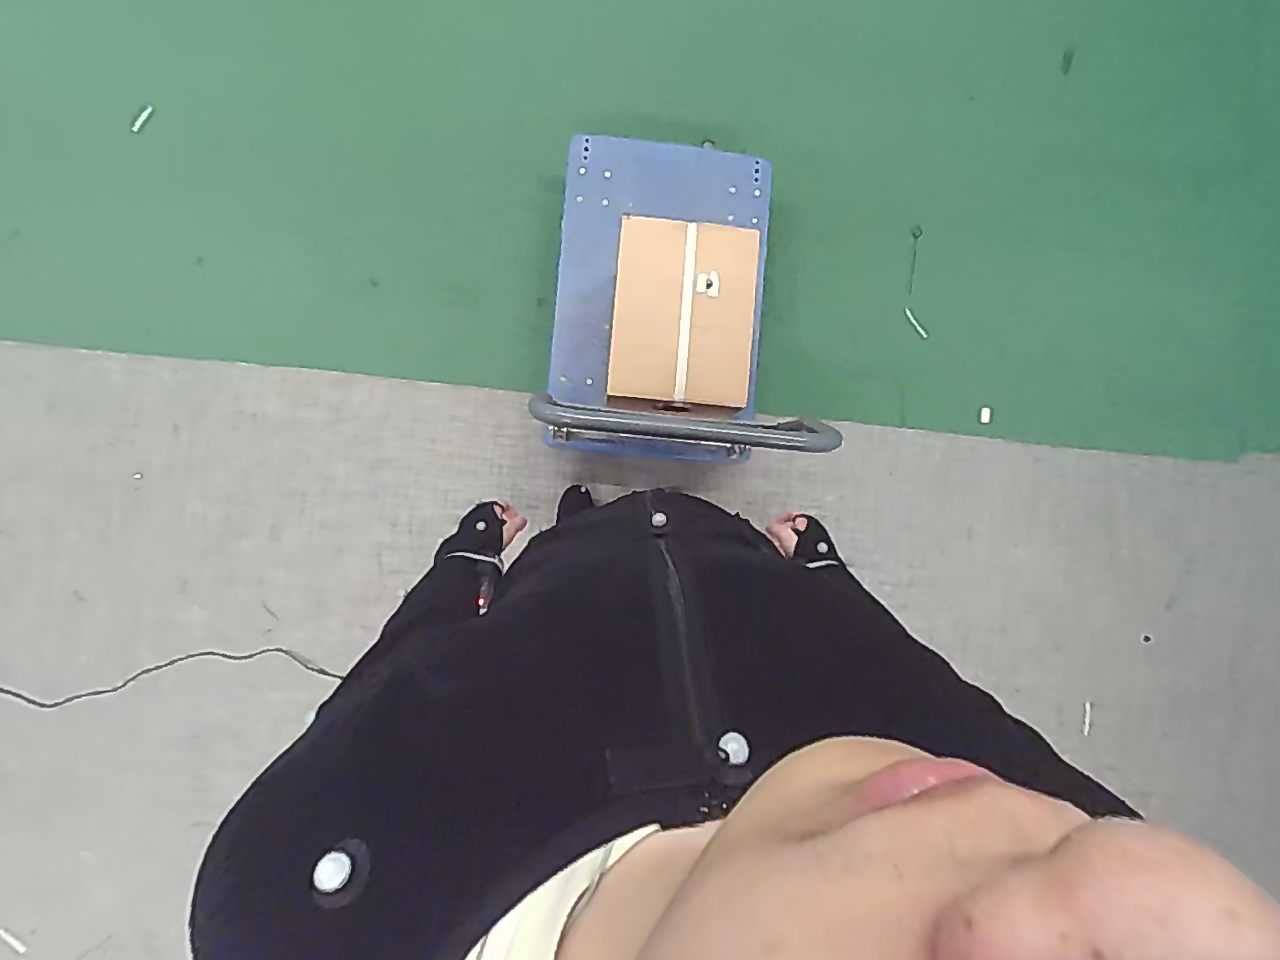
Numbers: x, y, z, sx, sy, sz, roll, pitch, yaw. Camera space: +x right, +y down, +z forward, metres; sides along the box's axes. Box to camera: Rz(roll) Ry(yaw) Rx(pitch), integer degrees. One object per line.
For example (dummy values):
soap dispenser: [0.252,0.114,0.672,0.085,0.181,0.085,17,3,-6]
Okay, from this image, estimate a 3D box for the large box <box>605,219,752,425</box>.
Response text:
large box: [0.077,-0.362,1.340,0.320,0.320,0.408,4,87,-5]
